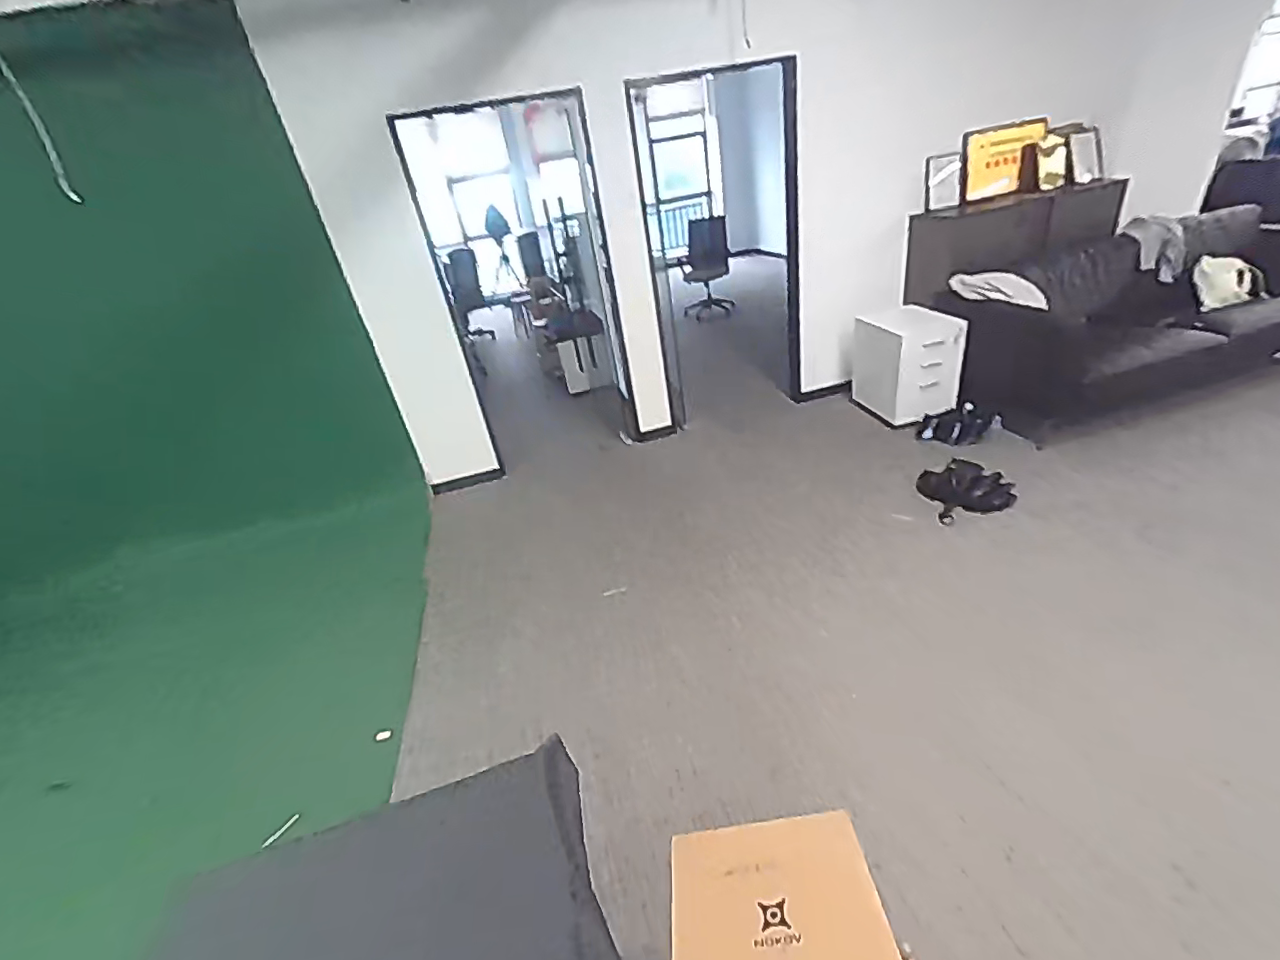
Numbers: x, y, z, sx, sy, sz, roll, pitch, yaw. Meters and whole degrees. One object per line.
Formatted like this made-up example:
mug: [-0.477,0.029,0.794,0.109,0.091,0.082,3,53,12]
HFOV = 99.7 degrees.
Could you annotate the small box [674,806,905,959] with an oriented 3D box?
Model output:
small box: [0.125,0.411,0.437,0.168,0.176,0.179,-12,13,6]
